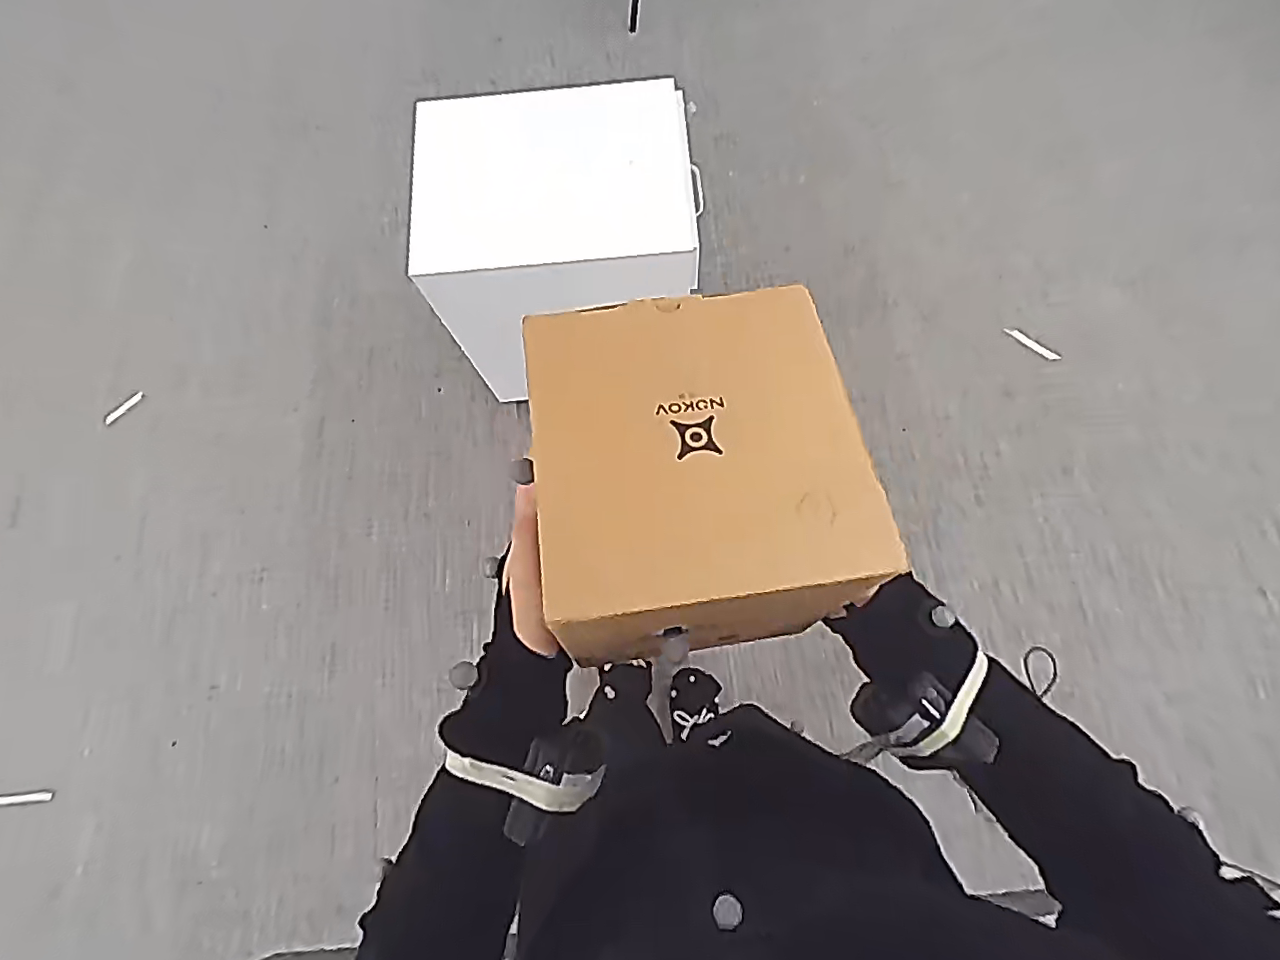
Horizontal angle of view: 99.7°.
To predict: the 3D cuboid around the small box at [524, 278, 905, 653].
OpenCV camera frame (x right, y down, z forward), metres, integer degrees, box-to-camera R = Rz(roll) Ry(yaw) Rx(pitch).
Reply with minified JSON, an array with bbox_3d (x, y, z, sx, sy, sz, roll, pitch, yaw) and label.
[{"bbox_3d":[0.027,0.006,0.343,0.168,0.176,0.179,-8,64,-4],"label":"small box"}]
